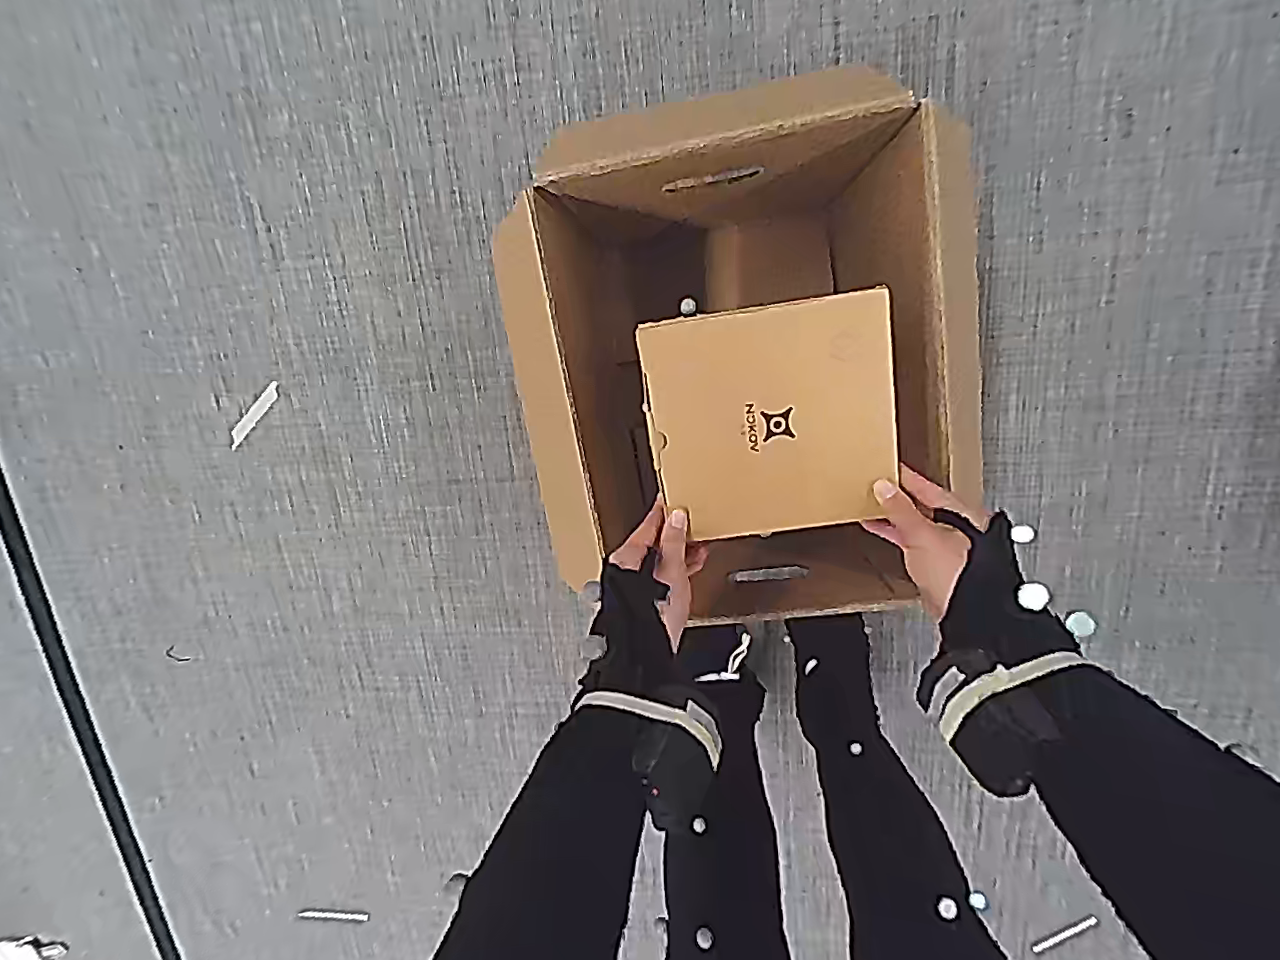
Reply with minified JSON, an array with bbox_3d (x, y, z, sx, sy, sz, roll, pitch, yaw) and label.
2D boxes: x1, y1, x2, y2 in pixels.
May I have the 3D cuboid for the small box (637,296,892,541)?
[{"bbox_3d":[0.100,-0.060,0.476,0.179,0.176,0.168,-8,103,7],"label":"small box"}]
